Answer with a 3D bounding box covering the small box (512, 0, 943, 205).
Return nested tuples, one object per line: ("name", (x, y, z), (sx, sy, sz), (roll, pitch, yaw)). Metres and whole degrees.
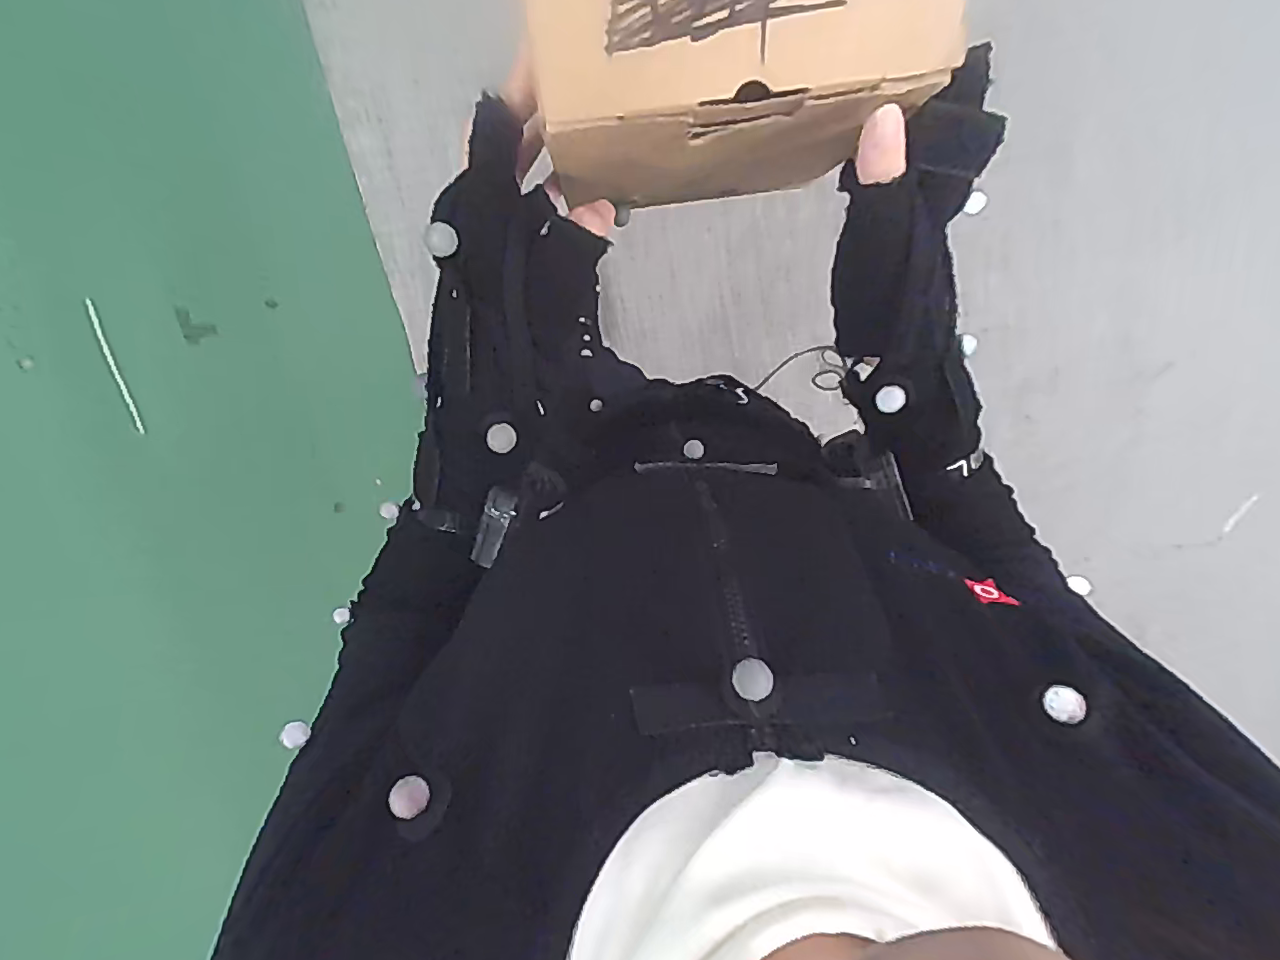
("small box", (0.026, -0.251, 0.269), (0.168, 0.176, 0.179), (-8, 105, 0))
